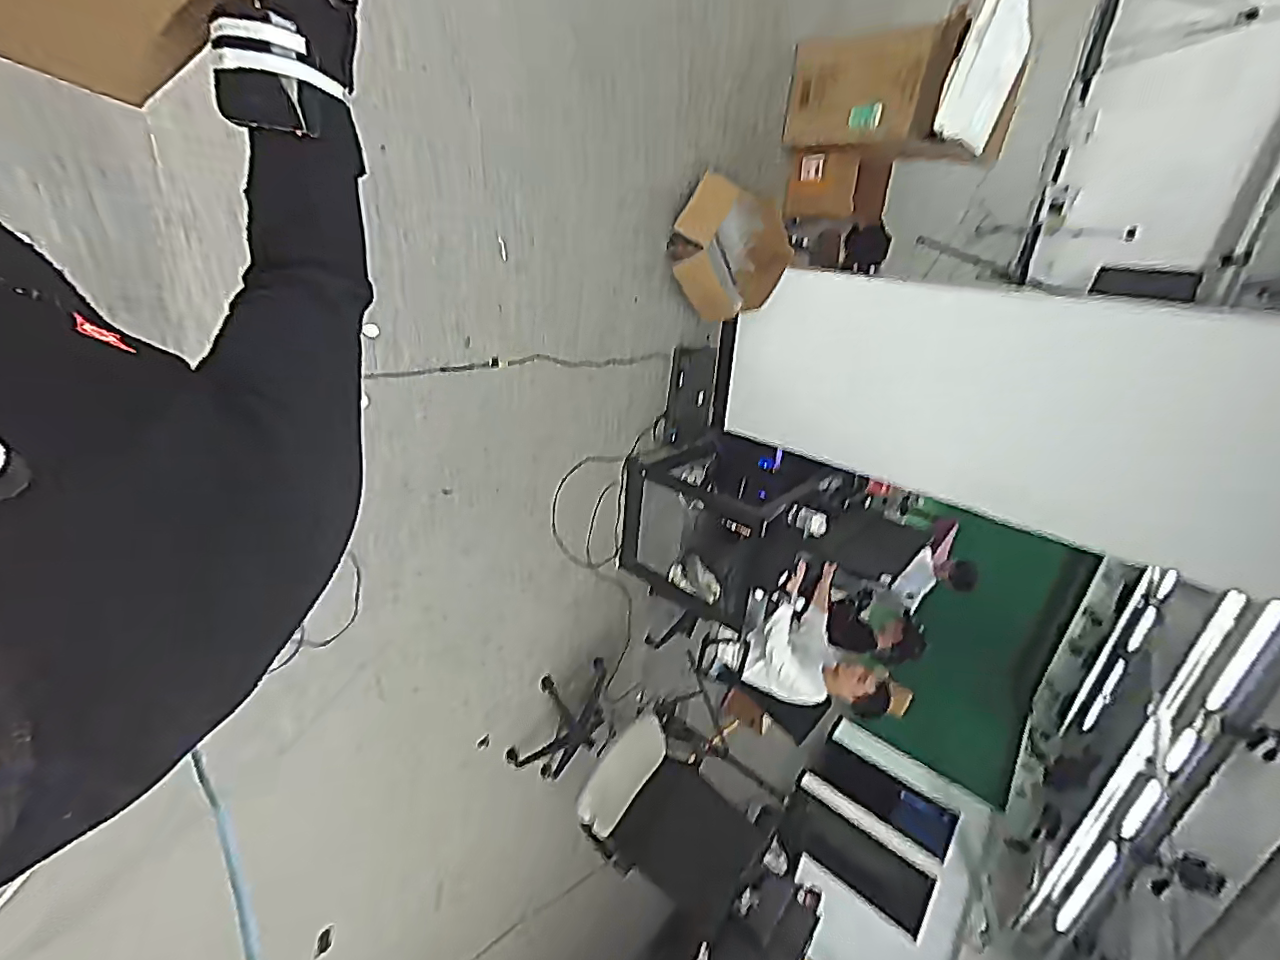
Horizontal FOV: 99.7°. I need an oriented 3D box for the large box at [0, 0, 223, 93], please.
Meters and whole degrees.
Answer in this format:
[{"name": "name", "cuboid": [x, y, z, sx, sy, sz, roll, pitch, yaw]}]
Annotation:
[{"name": "large box", "cuboid": [-0.469, -0.471, 0.246, 0.408, 0.320, 0.320, -7, 105, -54]}]
